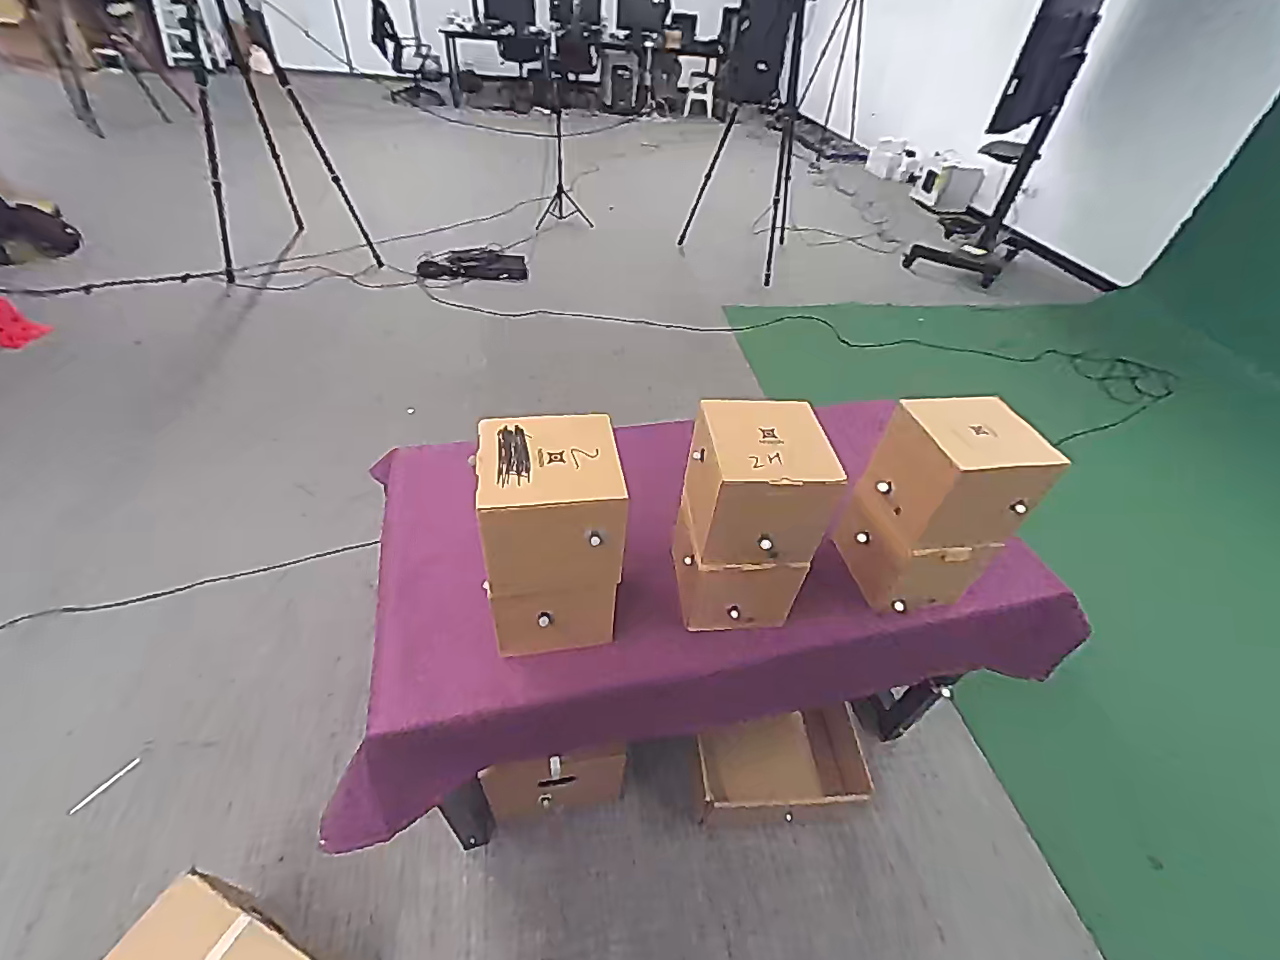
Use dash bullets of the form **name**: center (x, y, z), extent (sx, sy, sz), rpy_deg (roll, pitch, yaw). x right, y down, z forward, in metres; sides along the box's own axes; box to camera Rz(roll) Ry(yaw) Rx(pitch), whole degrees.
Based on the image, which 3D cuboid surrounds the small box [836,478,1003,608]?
- **small box**: center (0.473, 0.111, 0.948), extent (0.168, 0.176, 0.179), rpy_deg (-4, 44, -10)

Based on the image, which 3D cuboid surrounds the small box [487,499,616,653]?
- **small box**: center (-0.134, 0.151, 0.839), extent (0.179, 0.176, 0.168), rpy_deg (-4, 45, -10)

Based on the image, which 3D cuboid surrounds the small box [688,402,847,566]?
- **small box**: center (0.170, 0.005, 0.789), extent (0.168, 0.176, 0.179), rpy_deg (0, 45, -6)

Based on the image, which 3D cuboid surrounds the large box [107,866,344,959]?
- **large box**: center (-0.749, 0.961, 0.885), extent (0.320, 0.320, 0.408), rpy_deg (21, 45, 14)

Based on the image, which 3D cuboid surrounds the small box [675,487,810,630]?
- **small box**: center (0.156, 0.128, 0.898), extent (0.168, 0.176, 0.179), rpy_deg (-1, 45, -7)

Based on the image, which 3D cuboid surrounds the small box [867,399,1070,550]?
- **small box**: center (0.489, -0.008, 0.838), extent (0.179, 0.176, 0.168), rpy_deg (-4, 44, -9)
